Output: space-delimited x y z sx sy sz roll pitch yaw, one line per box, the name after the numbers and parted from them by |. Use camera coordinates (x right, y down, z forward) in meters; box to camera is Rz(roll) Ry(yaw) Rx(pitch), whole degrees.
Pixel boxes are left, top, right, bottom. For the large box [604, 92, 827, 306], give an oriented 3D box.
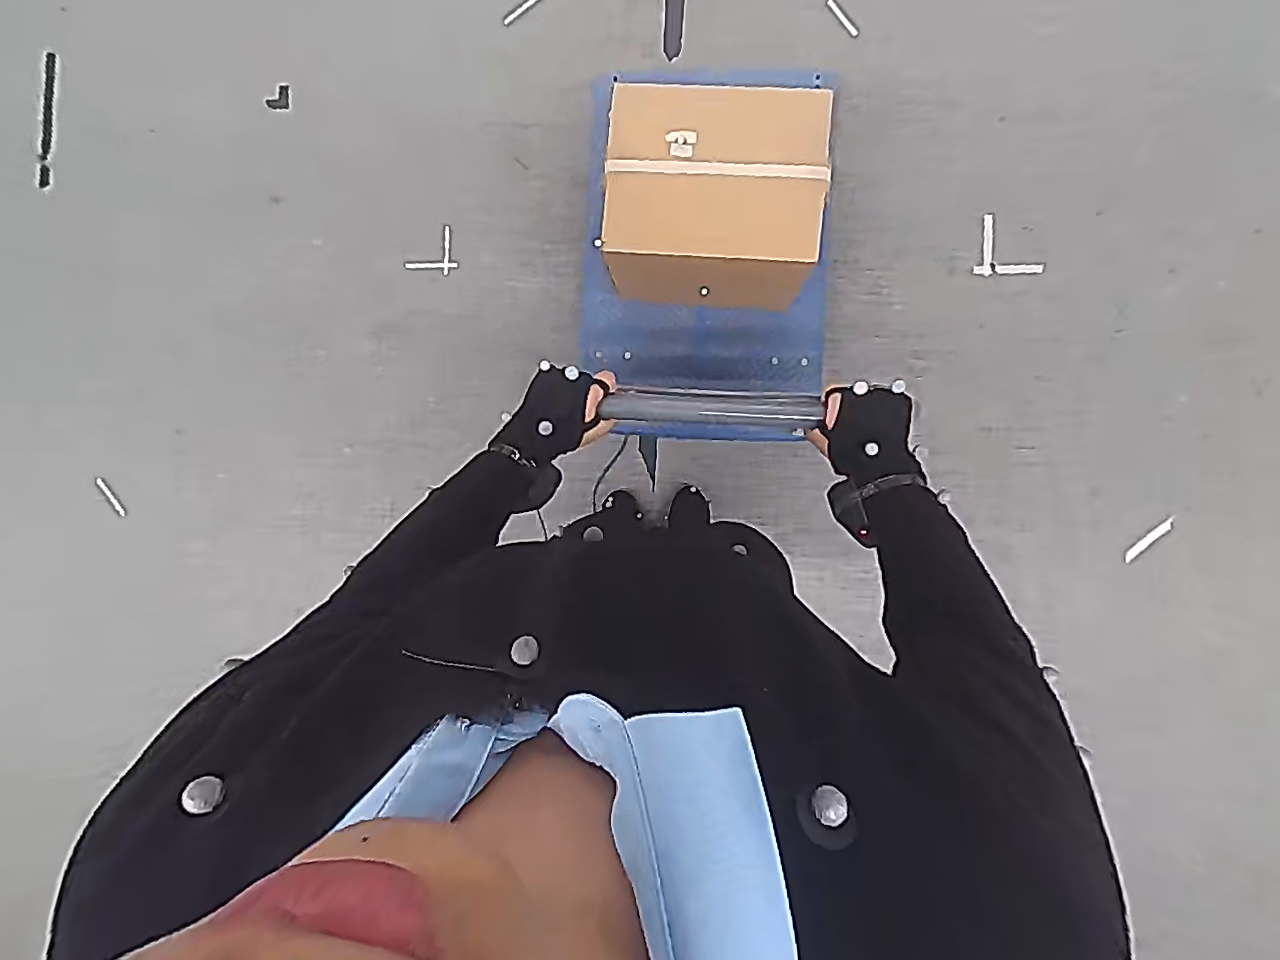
0.153 -0.574 1.159 0.408 0.320 0.320 5 91 5 | large box
